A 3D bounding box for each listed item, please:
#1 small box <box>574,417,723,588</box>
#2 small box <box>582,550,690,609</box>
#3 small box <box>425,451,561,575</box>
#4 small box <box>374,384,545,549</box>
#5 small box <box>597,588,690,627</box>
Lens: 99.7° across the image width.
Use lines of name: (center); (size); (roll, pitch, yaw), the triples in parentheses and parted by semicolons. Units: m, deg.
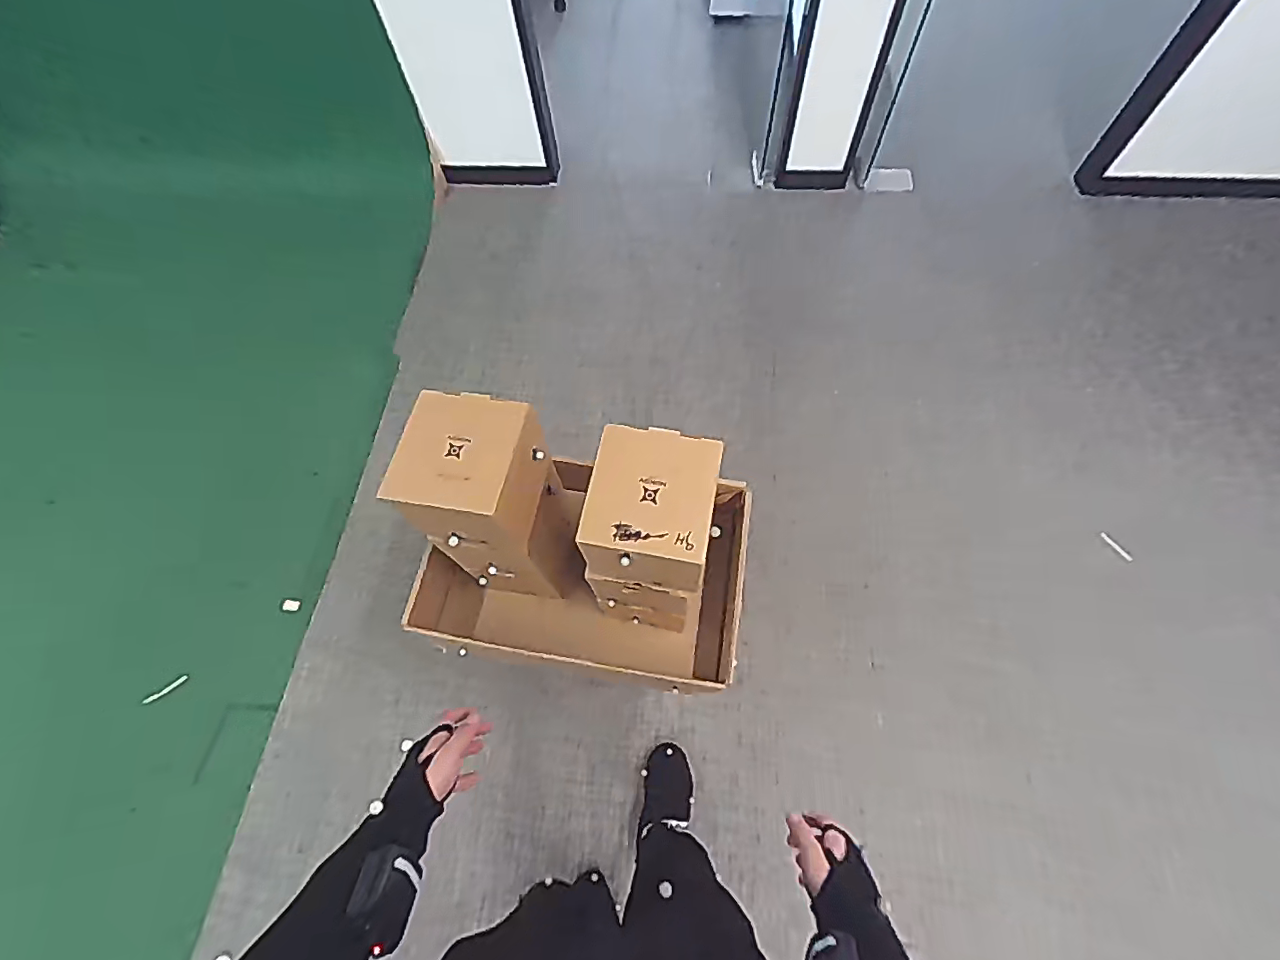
small box: (0.016, 0.037, 0.766); (0.168, 0.176, 0.179); (9, 66, 7)
small box: (0.013, 0.108, 0.913); (0.168, 0.176, 0.179); (10, 66, 7)
small box: (-0.243, 0.052, 0.950); (0.168, 0.176, 0.179); (7, 66, 7)
small box: (-0.250, -0.016, 0.803); (0.168, 0.176, 0.179); (8, 66, 8)
small box: (0.020, 0.177, 1.063); (0.168, 0.176, 0.179); (9, 67, 7)
